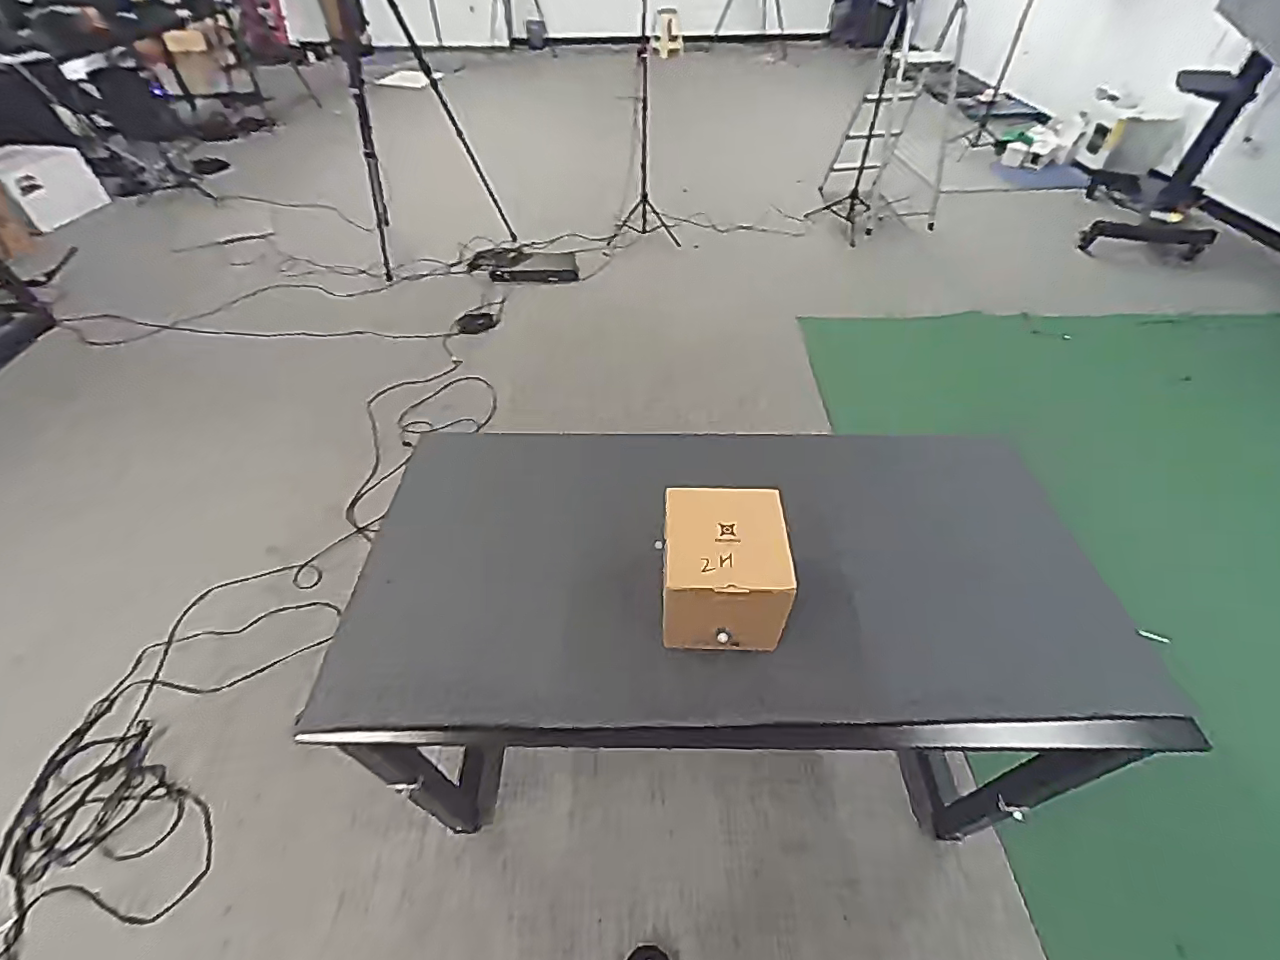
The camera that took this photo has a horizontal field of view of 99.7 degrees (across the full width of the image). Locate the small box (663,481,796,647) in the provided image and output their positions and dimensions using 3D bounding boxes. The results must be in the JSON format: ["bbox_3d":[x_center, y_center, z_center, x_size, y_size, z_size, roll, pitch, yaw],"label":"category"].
[{"bbox_3d":[0.118,0.122,0.791,0.168,0.176,0.179,1,46,2],"label":"small box"}]
